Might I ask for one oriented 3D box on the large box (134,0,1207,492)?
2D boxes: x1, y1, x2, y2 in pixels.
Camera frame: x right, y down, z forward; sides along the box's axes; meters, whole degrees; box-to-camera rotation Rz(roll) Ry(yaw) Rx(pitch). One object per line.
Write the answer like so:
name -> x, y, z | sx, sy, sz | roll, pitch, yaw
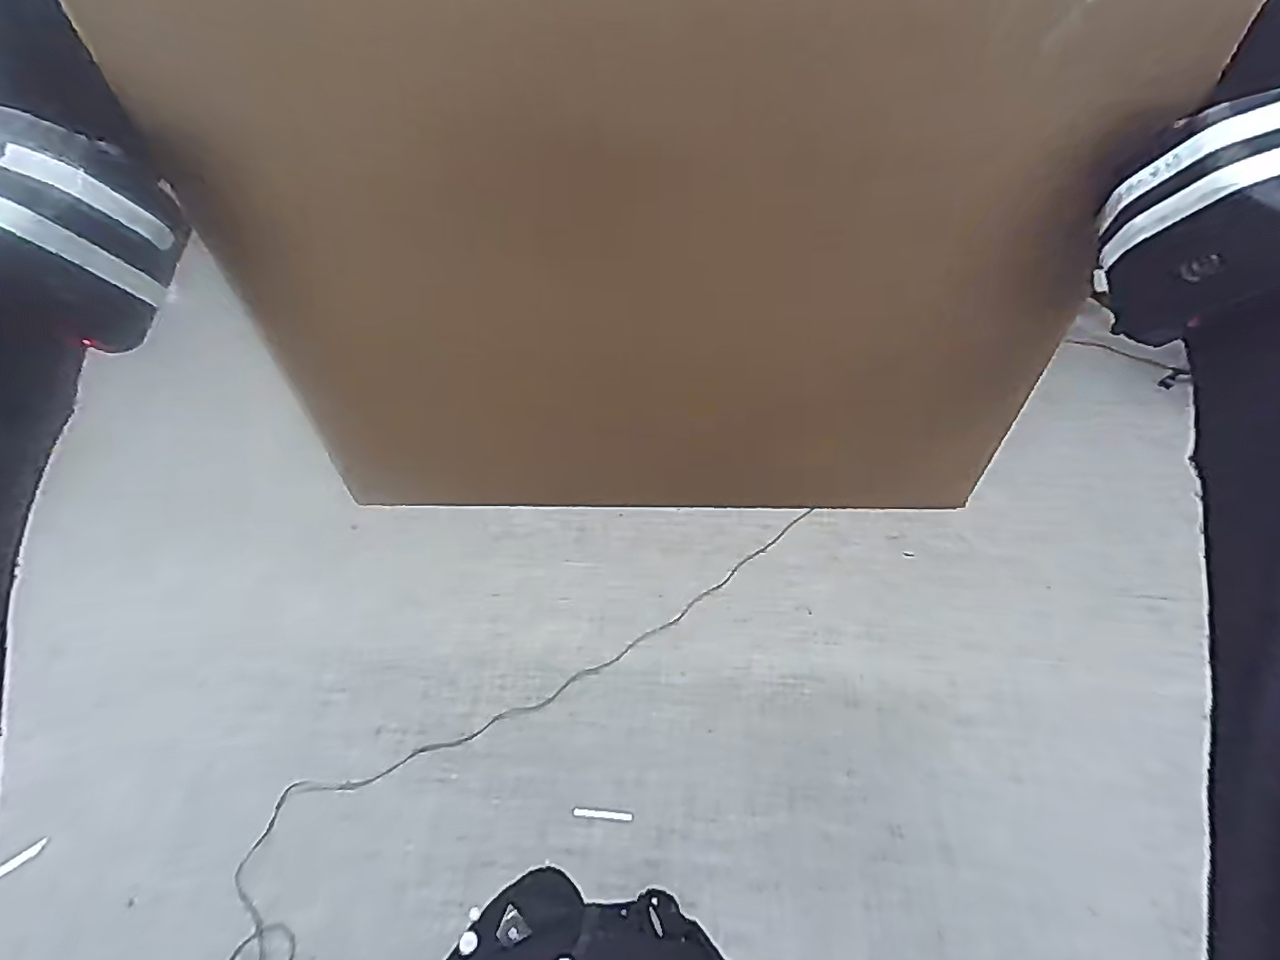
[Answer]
large box -> 0.011, -0.202, 0.373 | 0.408, 0.320, 0.320 | 0, 45, 1
